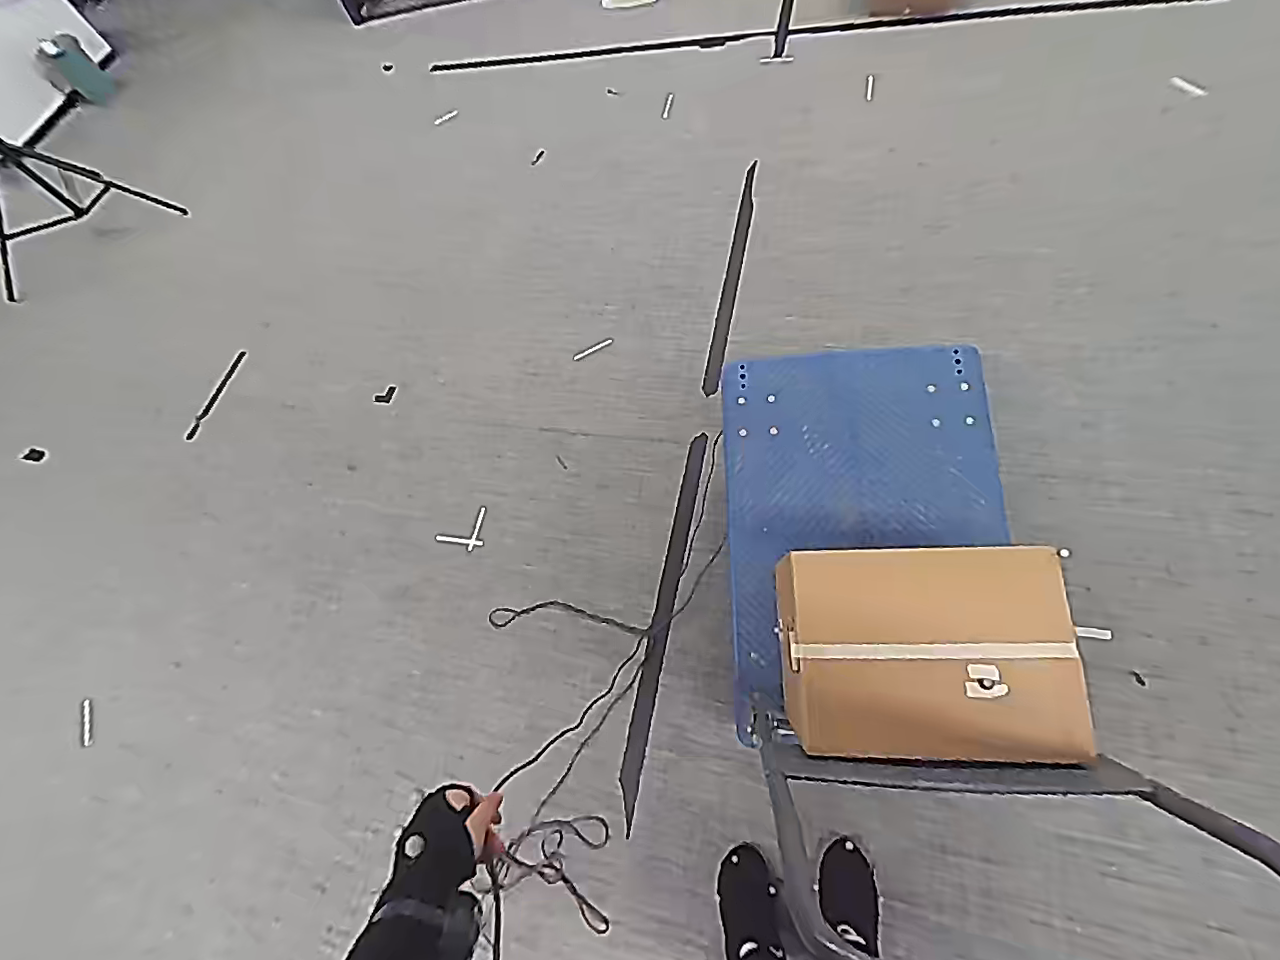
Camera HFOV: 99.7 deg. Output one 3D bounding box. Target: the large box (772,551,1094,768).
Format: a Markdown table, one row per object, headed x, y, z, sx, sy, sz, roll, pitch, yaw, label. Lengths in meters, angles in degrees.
| x | y | z | sx | sy | sz | roll | pitch | yaw | label |
| --- | --- | --- | --- | --- | --- | --- | --- | --- | --- |
| 0.465 | 0.304 | 0.968 | 0.408 | 0.320 | 0.320 | -3 | 77 | 8 | large box |
